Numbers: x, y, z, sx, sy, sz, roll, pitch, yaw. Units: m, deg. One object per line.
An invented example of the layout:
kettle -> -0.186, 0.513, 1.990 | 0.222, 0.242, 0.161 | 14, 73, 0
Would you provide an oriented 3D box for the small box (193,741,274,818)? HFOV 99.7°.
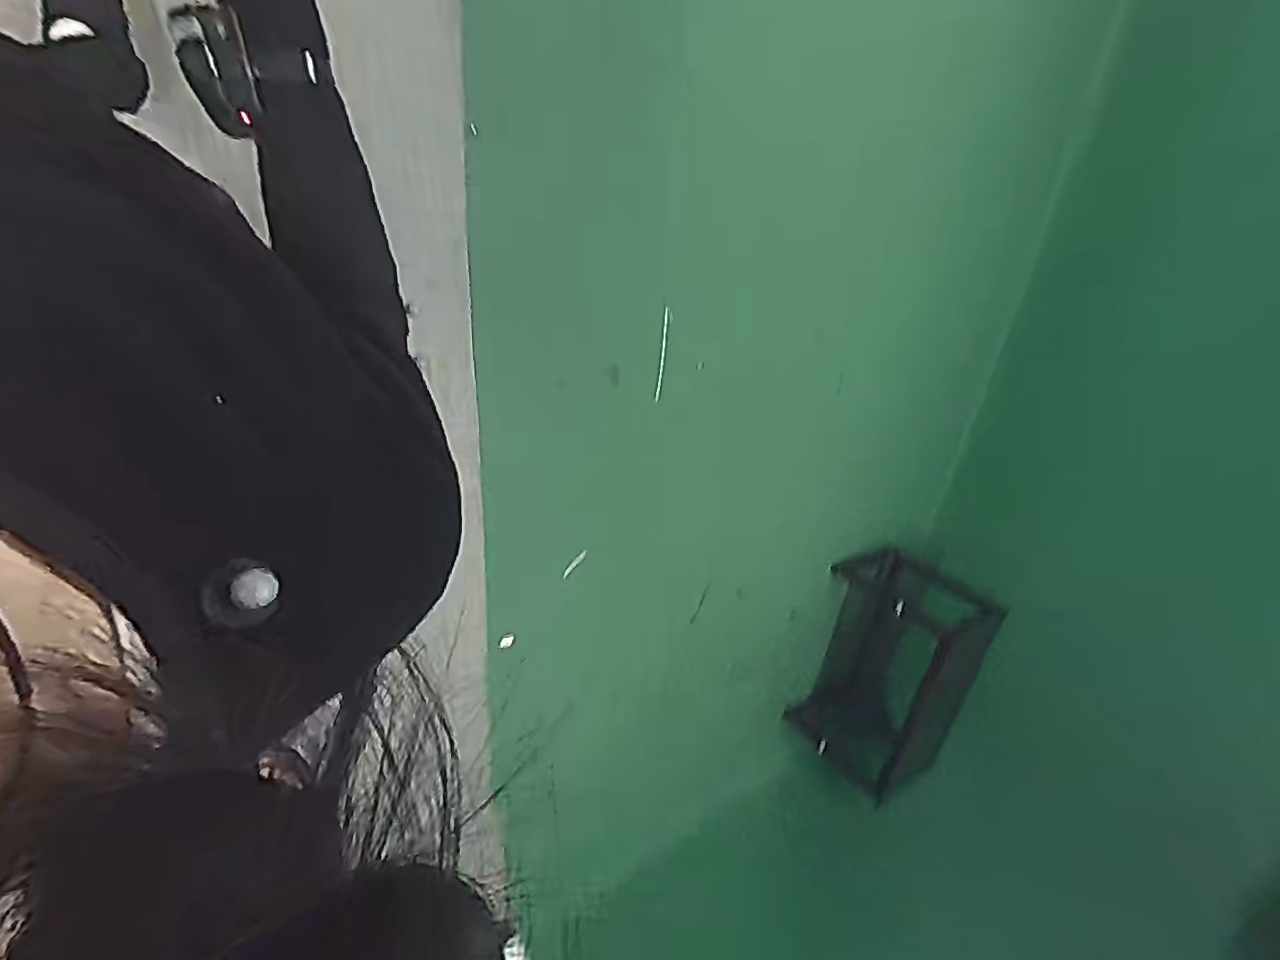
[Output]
small box -> -1.140, 0.873, 1.524 | 0.168, 0.176, 0.179 | -10, 120, -33
